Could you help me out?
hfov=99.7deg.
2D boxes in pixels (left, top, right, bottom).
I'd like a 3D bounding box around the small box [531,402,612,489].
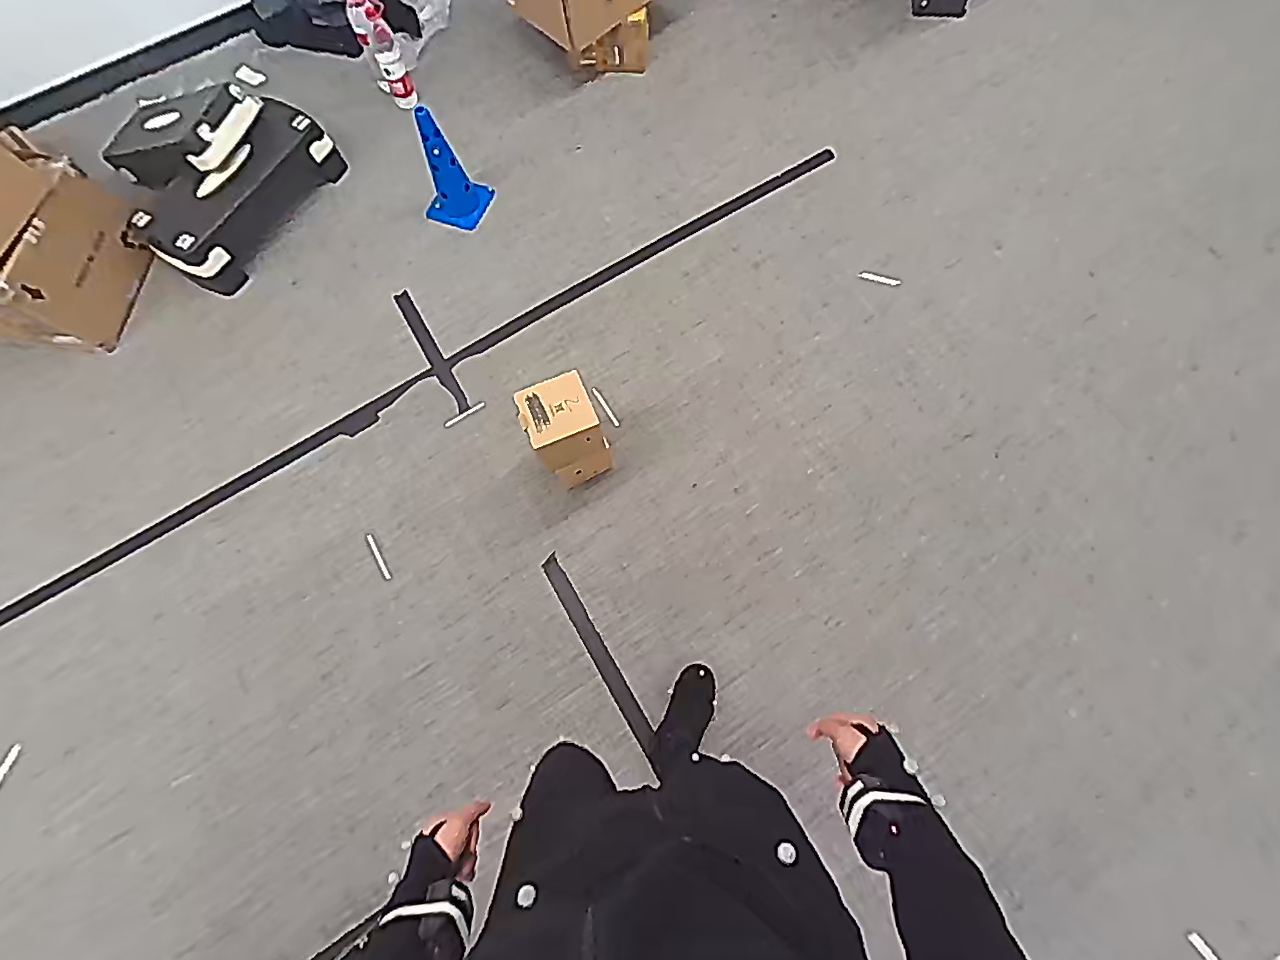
[{"bbox_3d":[-0.193,-0.090,1.569,0.168,0.176,0.179,-27,73,-7],"label":"small box"}]
